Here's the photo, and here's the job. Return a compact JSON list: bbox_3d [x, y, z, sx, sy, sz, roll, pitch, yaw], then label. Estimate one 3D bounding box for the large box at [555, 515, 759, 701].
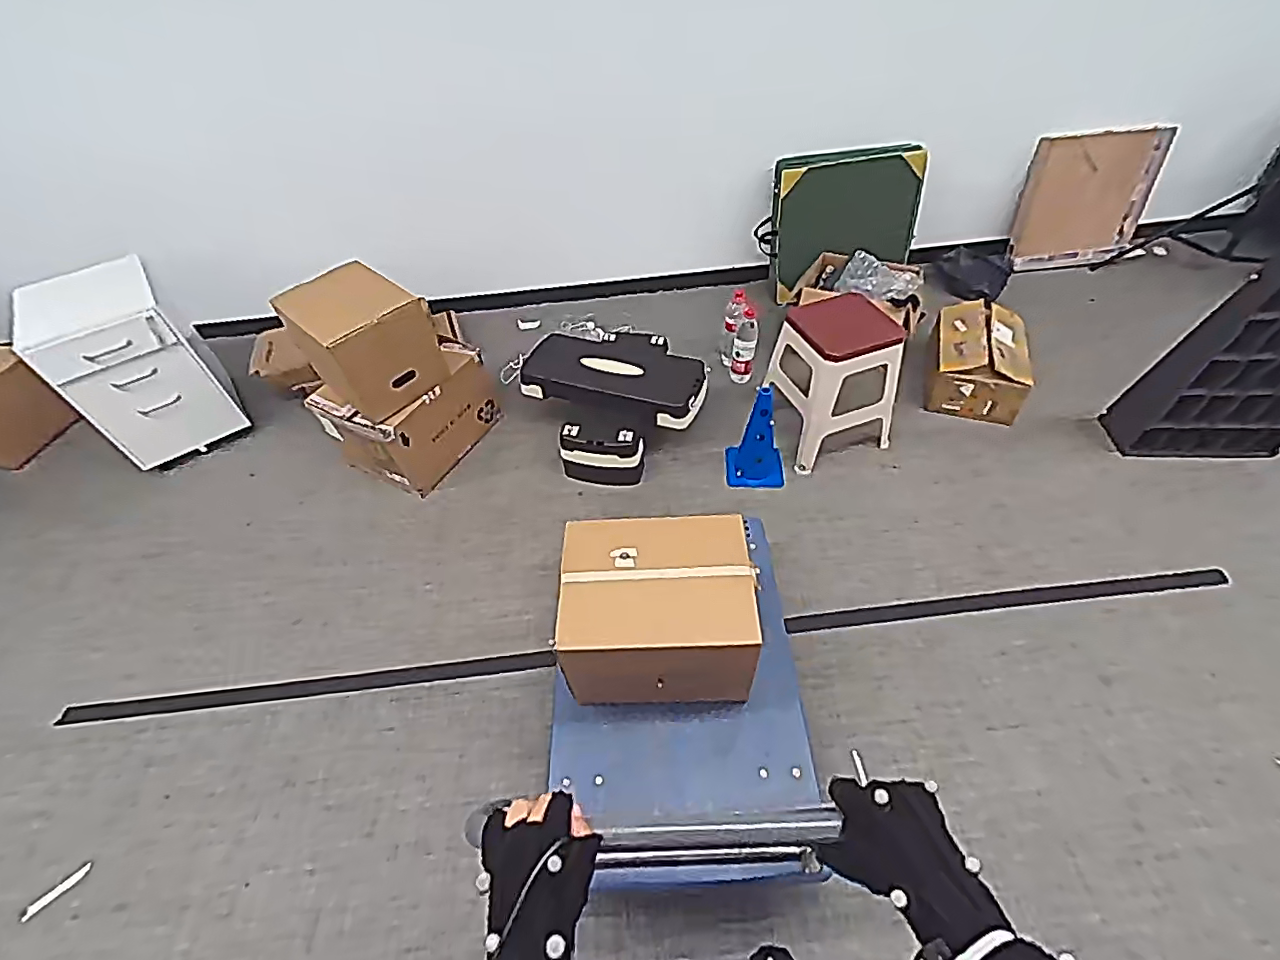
[{"bbox_3d":[0.040,0.304,1.255,0.408,0.320,0.320,-3,49,3],"label":"large box"}]
